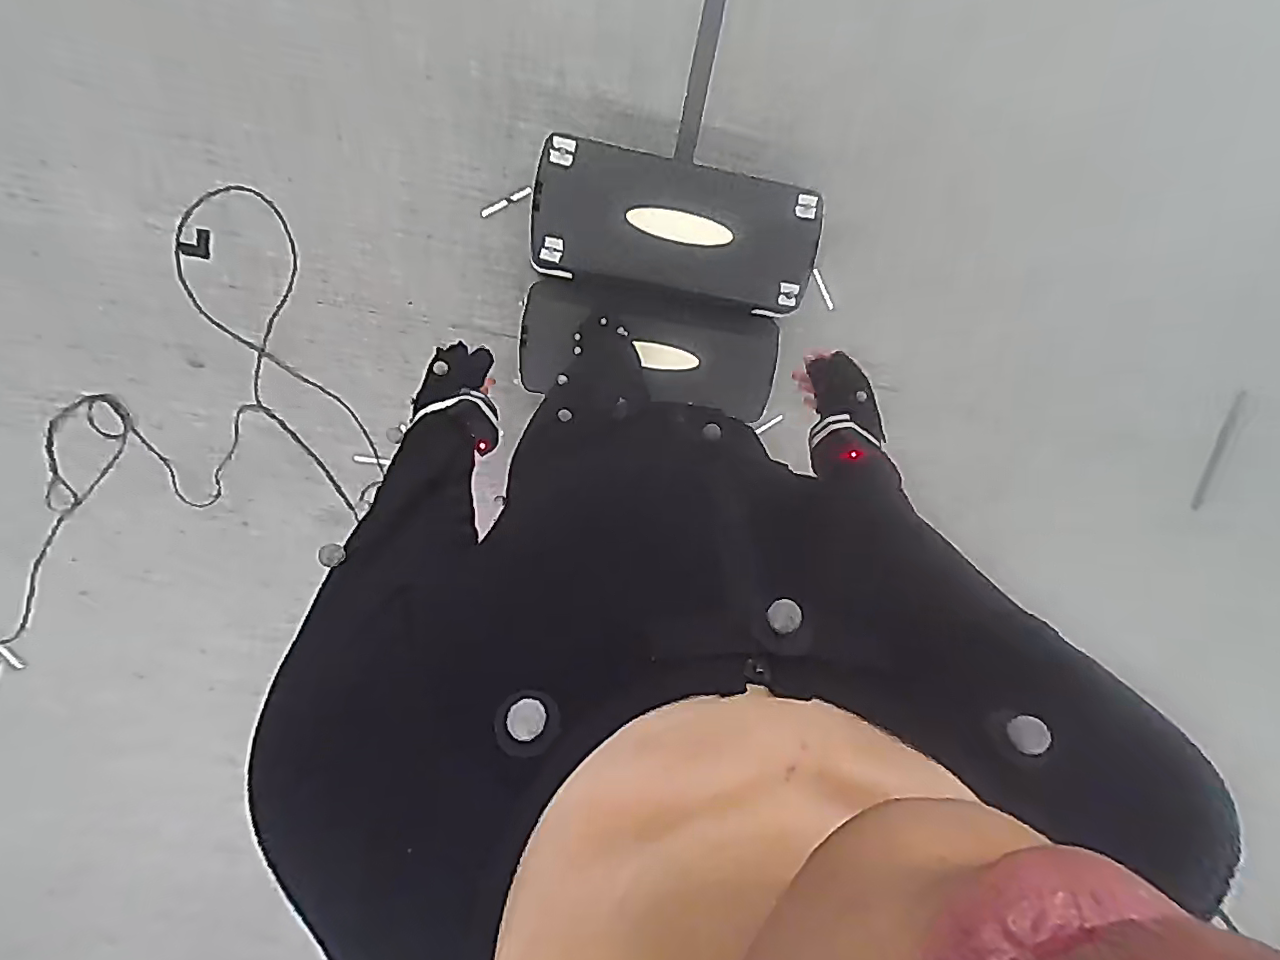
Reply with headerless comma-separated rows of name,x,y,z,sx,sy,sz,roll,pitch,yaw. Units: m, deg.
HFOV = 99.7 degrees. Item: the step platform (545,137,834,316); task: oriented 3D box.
step platform,0.114,-0.600,1.322,0.684,0.204,0.286,7,103,-8
